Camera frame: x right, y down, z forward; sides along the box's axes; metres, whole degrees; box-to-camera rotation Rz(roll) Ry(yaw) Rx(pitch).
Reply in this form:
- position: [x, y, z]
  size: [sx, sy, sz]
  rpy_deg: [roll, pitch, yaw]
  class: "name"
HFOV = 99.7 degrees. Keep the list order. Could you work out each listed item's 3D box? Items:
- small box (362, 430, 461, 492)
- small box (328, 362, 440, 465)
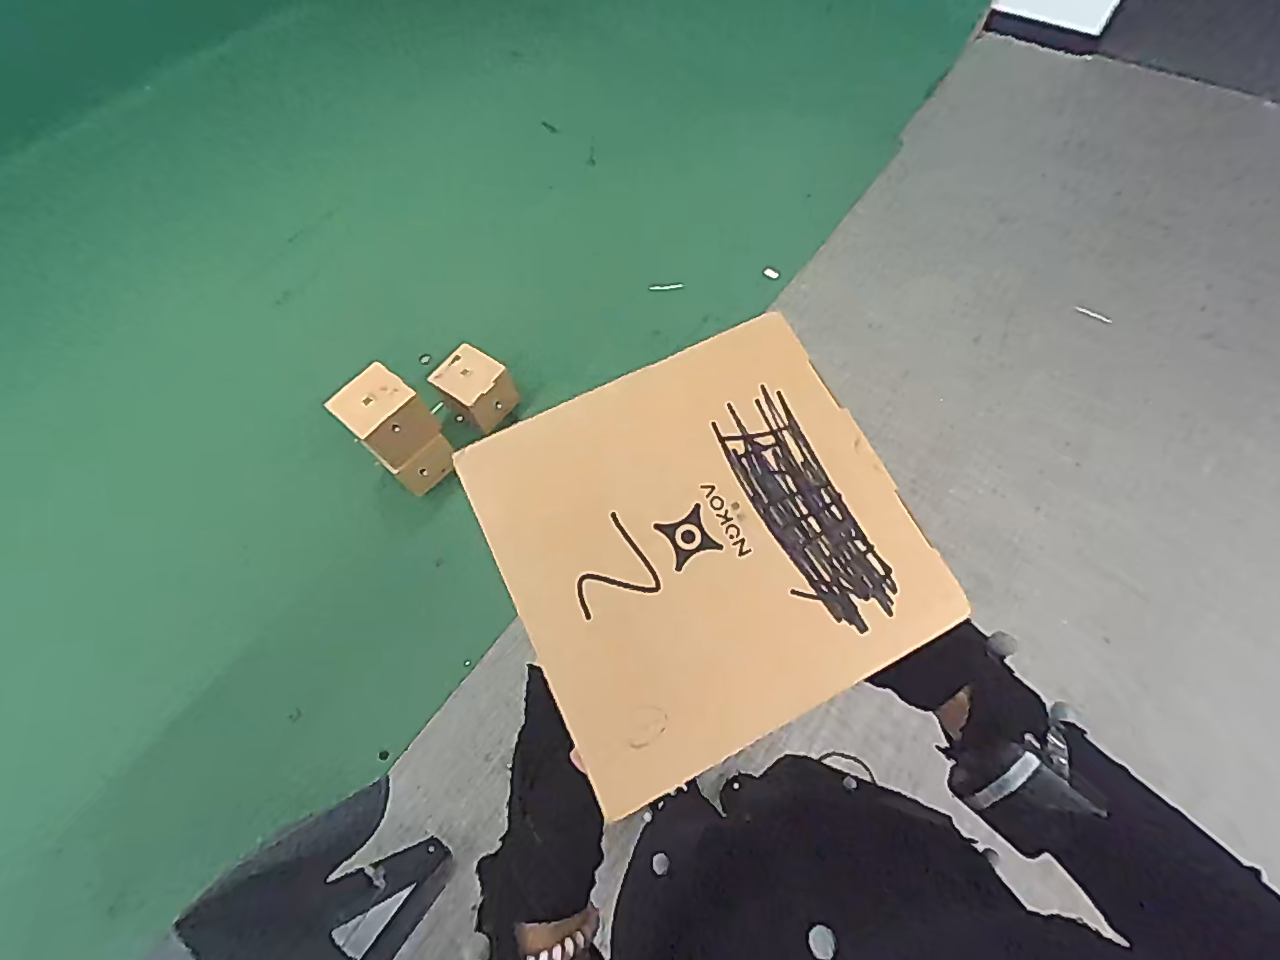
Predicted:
- position: [-0.659, -0.088, 1.580]
  size: [0.179, 0.176, 0.168]
  rpy_deg: [38, 72, 19]
  class: "small box"
- position: [-0.670, -0.170, 1.437]
  size: [0.168, 0.176, 0.179]
  rpy_deg: [37, 72, 19]
  class: "small box"
